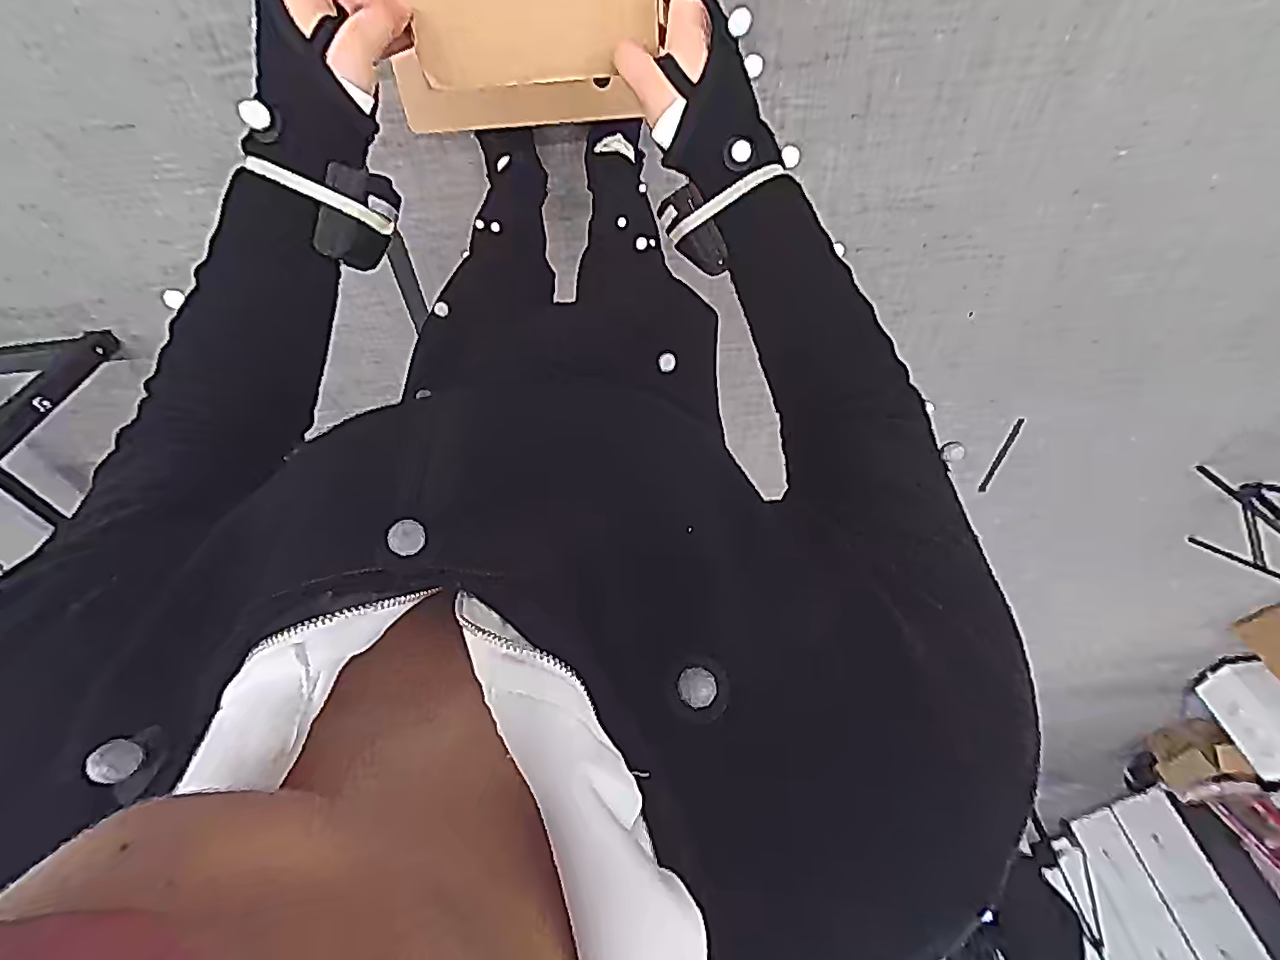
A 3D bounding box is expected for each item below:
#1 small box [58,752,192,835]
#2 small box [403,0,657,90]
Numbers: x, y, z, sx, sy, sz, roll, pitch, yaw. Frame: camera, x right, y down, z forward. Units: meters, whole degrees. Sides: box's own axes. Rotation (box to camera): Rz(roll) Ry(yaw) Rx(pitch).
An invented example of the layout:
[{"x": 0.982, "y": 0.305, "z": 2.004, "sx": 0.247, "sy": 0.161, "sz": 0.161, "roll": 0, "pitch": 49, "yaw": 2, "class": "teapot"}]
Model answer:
[{"x": -1.418, "y": 0.867, "z": 1.503, "sx": 0.168, "sy": 0.176, "sz": 0.179, "roll": -6, "pitch": 137, "yaw": 3, "class": "small box"}, {"x": -0.081, "y": -0.414, "z": 0.395, "sx": 0.179, "sy": 0.176, "sz": 0.168, "roll": -3, "pitch": 142, "yaw": 1, "class": "small box"}]
